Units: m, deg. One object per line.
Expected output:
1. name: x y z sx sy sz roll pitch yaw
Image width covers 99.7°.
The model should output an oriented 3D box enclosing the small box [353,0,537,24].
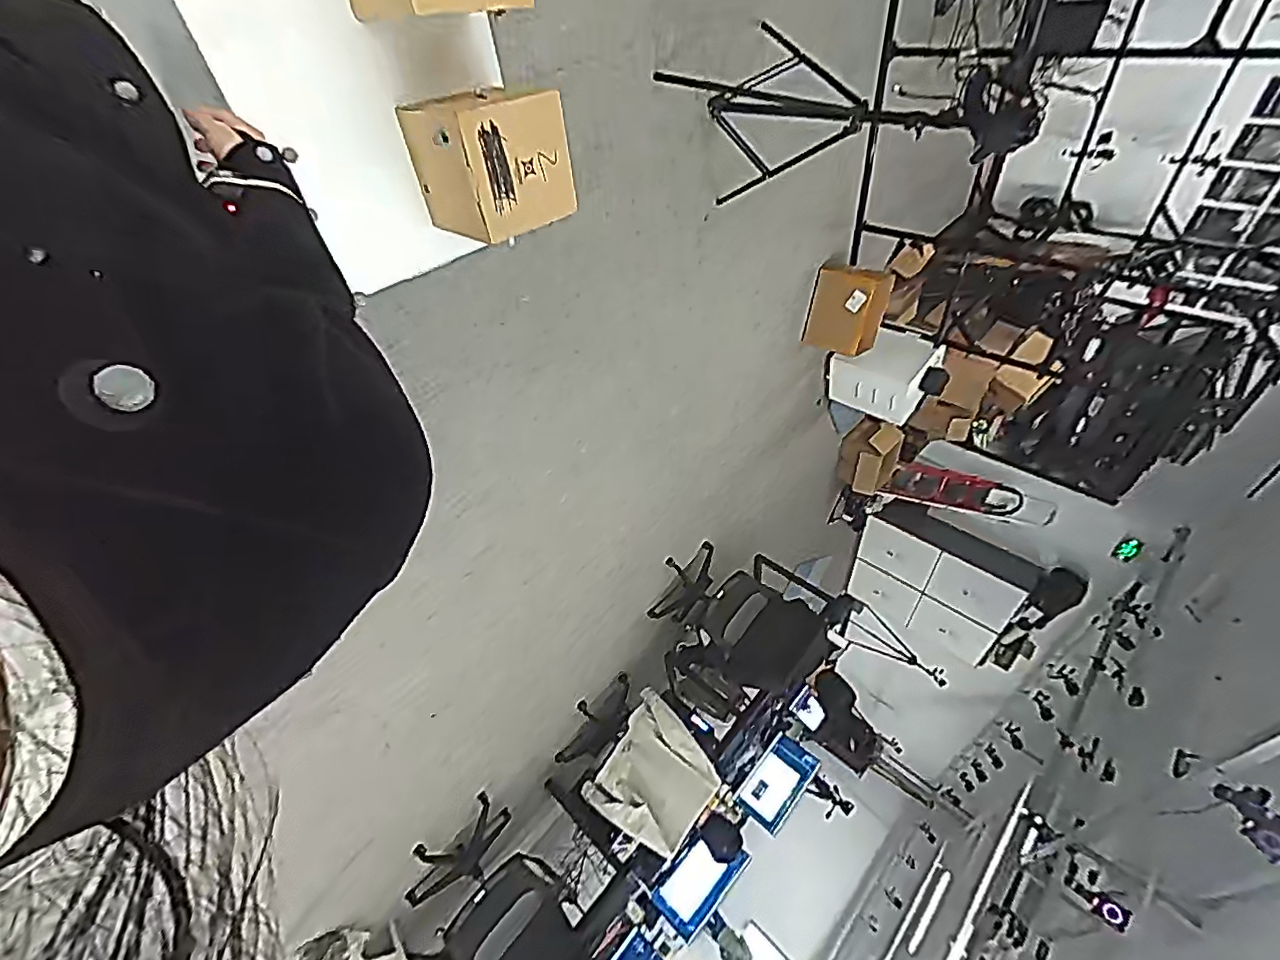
1. small box: -0.254 -0.660 0.646 0.179 0.176 0.168 -37 141 -31
